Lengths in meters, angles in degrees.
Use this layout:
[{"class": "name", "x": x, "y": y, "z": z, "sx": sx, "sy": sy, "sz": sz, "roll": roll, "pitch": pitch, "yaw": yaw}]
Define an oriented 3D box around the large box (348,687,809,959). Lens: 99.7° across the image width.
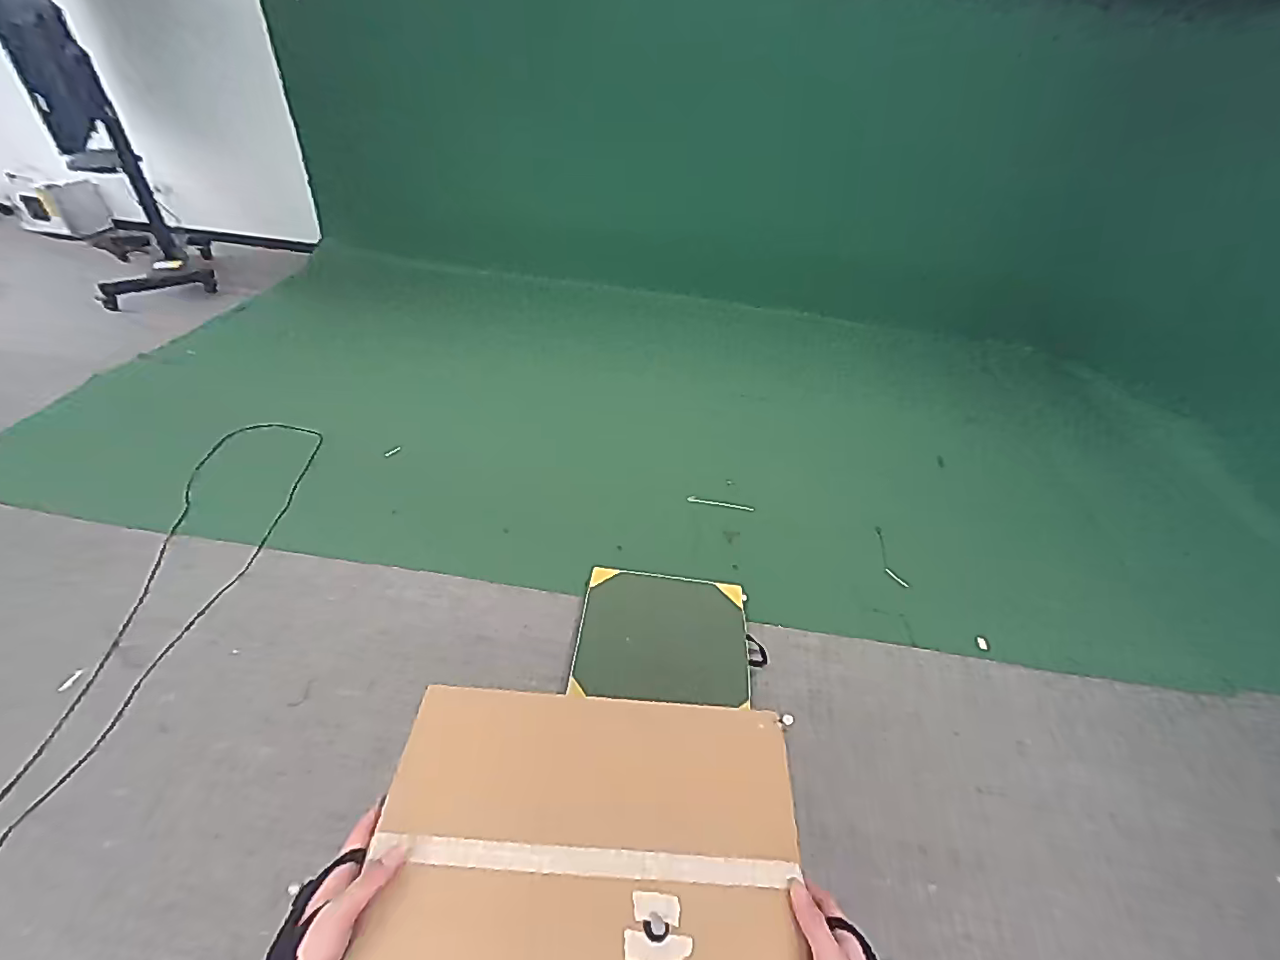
[{"class": "large box", "x": -0.057, "y": 0.466, "z": 0.621, "sx": 0.408, "sy": 0.320, "sz": 0.320, "roll": 5, "pitch": 44, "yaw": 0}]
